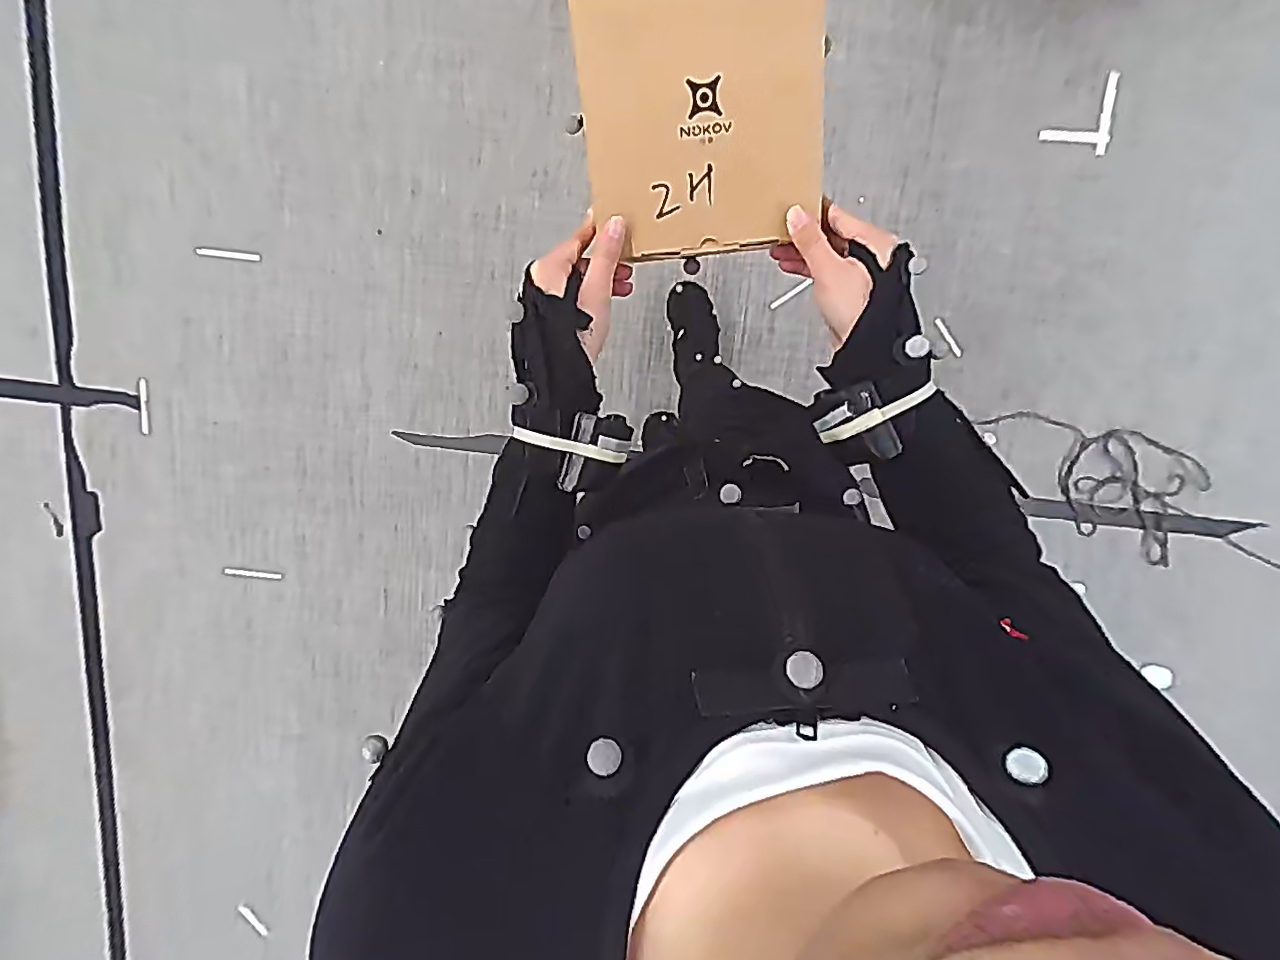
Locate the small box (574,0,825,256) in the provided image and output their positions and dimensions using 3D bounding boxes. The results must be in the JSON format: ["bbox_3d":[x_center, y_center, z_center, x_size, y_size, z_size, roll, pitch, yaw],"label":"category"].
[{"bbox_3d":[0.040,-0.286,0.440,0.168,0.176,0.179,-6,111,1],"label":"small box"}]
